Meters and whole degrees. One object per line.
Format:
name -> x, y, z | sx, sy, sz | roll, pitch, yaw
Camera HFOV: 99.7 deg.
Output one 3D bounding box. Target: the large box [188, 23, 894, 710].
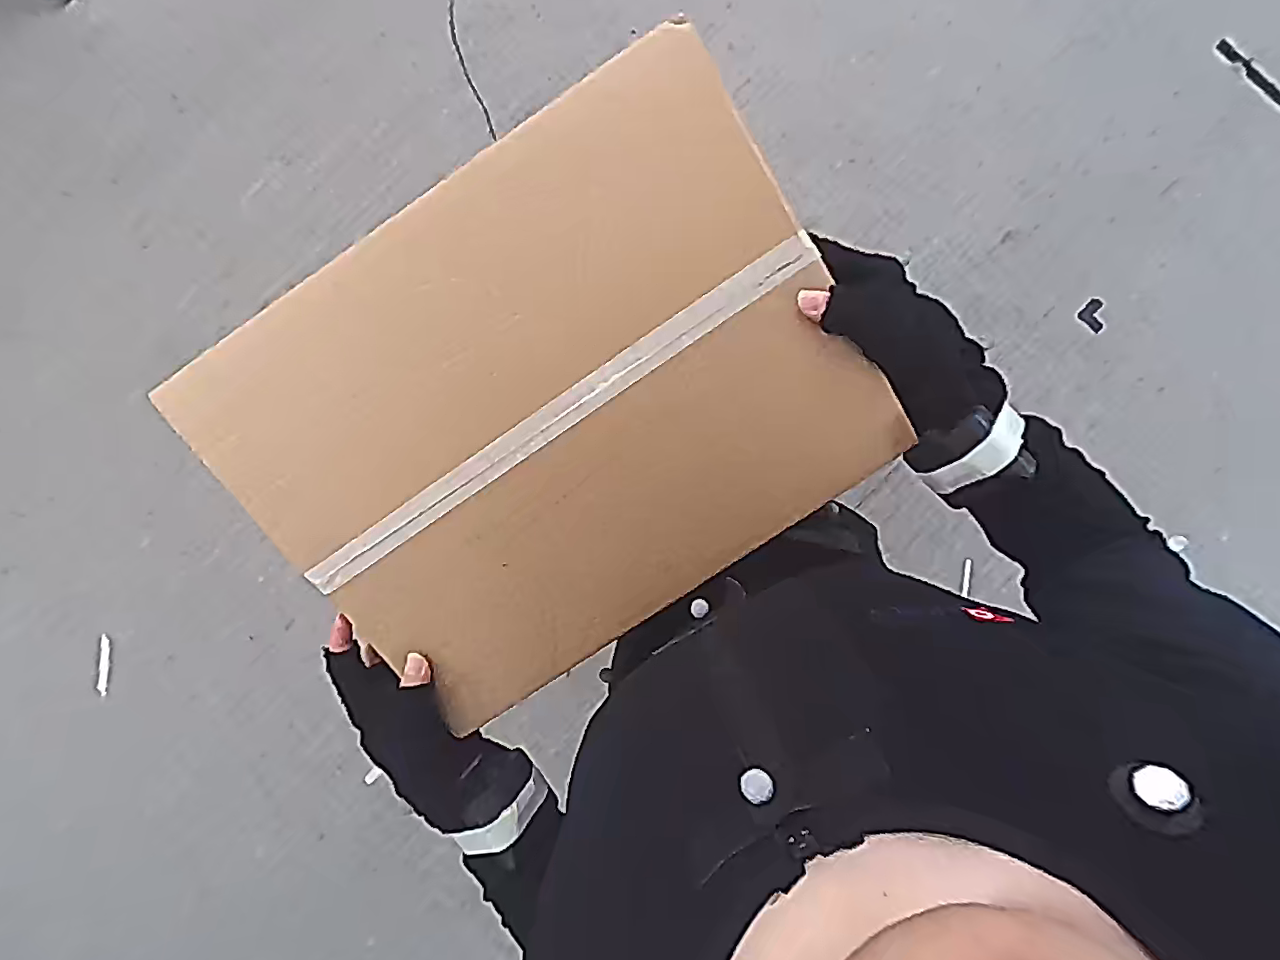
large box -> -0.069, -0.080, 0.521 | 0.408, 0.320, 0.320 | -34, 103, 4
